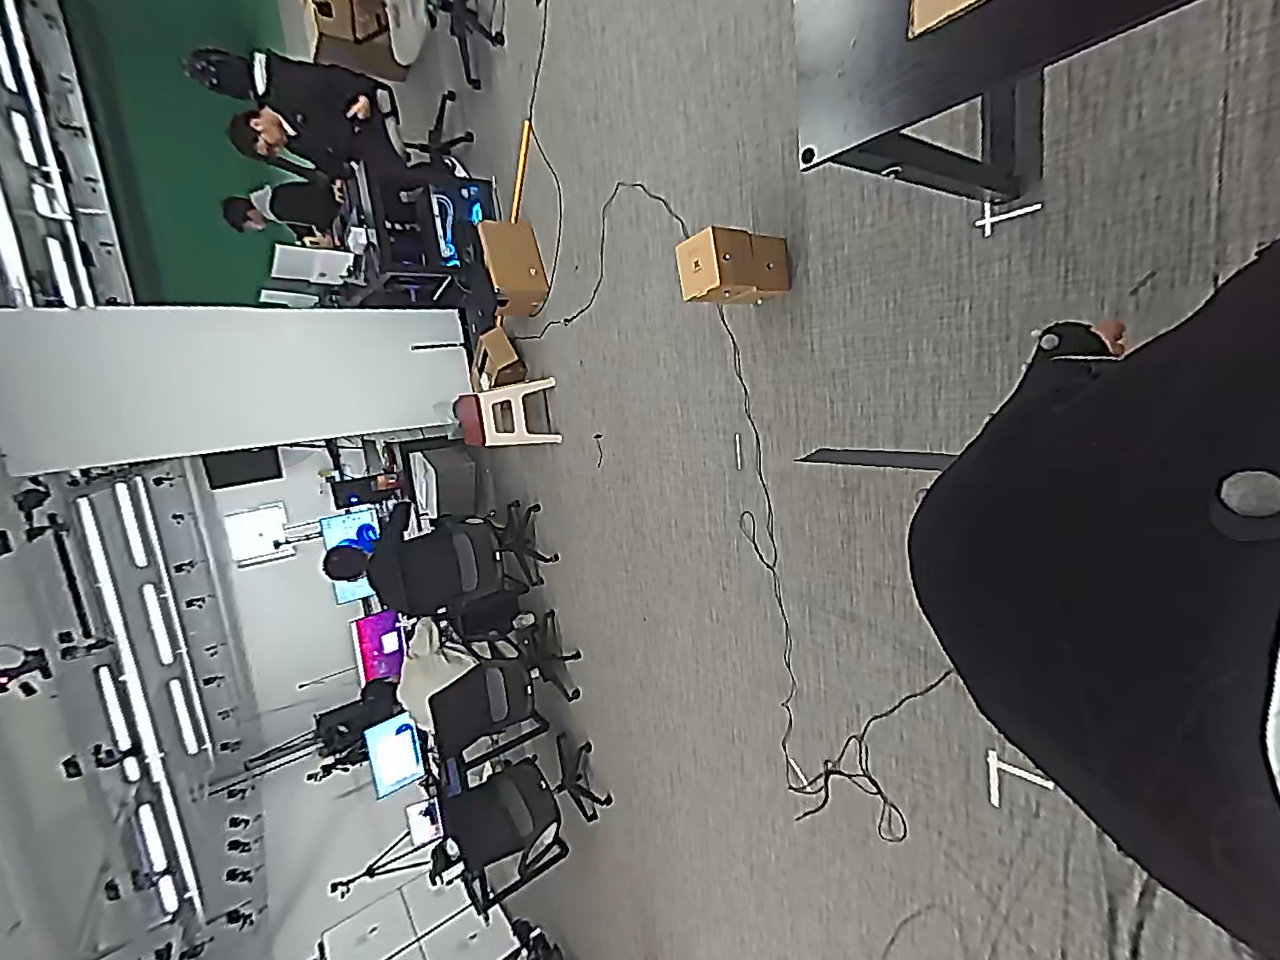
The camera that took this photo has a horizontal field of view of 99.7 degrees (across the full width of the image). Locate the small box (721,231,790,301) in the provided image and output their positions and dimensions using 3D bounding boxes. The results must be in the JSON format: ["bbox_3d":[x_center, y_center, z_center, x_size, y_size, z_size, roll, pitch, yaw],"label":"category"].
[{"bbox_3d":[0.374,-0.697,1.782,0.168,0.176,0.179,1,102,54],"label":"small box"}]

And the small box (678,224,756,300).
[{"bbox_3d":[0.244,-0.674,1.687,0.168,0.176,0.179,-3,97,54],"label":"small box"}]
